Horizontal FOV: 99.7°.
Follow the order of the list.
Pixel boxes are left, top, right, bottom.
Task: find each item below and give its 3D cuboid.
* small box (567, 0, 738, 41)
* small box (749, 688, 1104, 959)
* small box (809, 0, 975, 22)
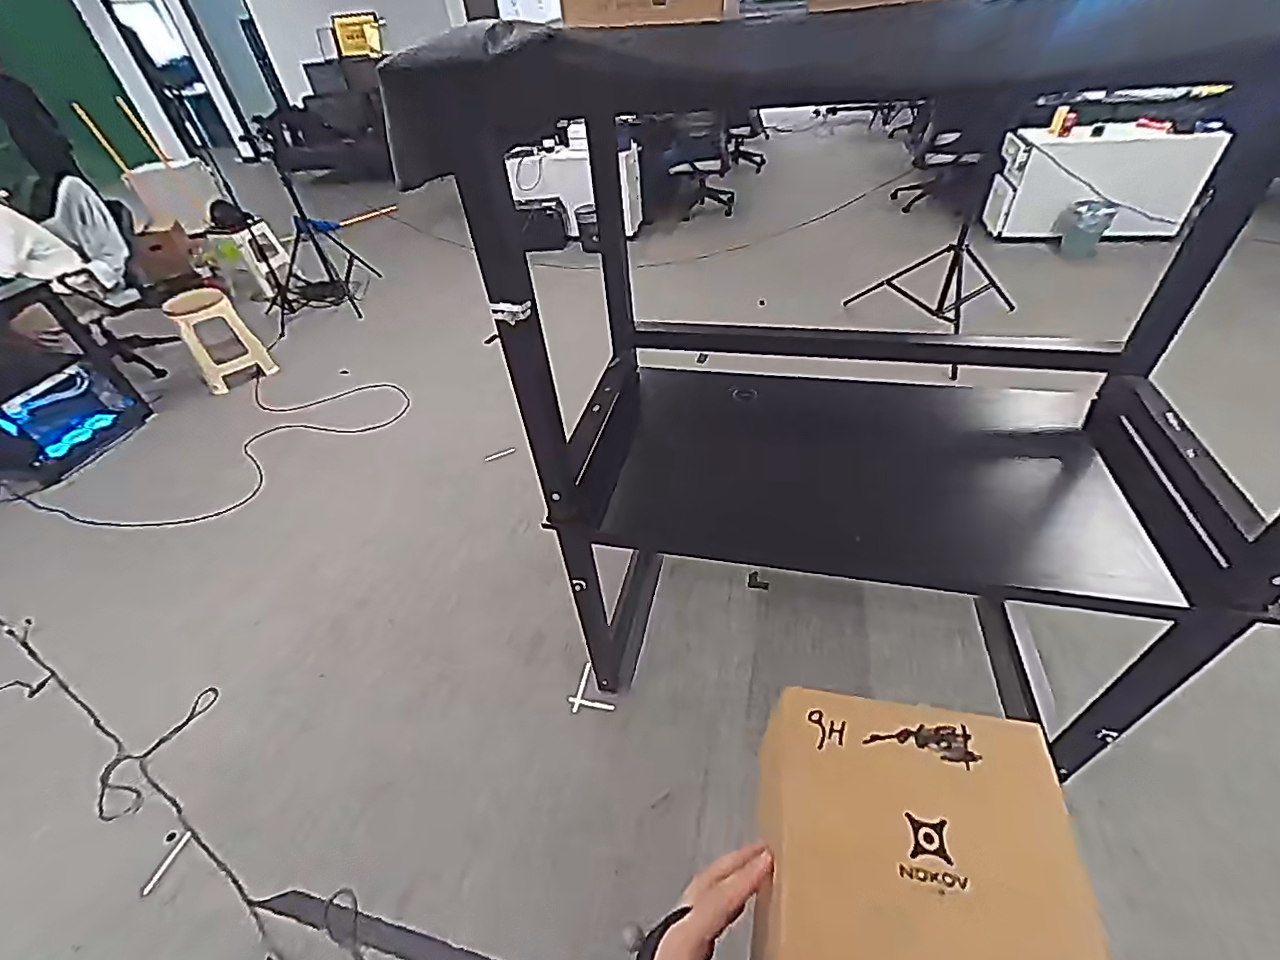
[{"bbox_3d":[0.017,-0.565,0.553,0.168,0.176,0.179,7,41,12],"label":"small box"},{"bbox_3d":[0.167,0.269,0.367,0.168,0.176,0.179,6,49,9],"label":"small box"},{"bbox_3d":[0.258,-0.557,0.516,0.168,0.176,0.179,7,41,14],"label":"small box"}]
